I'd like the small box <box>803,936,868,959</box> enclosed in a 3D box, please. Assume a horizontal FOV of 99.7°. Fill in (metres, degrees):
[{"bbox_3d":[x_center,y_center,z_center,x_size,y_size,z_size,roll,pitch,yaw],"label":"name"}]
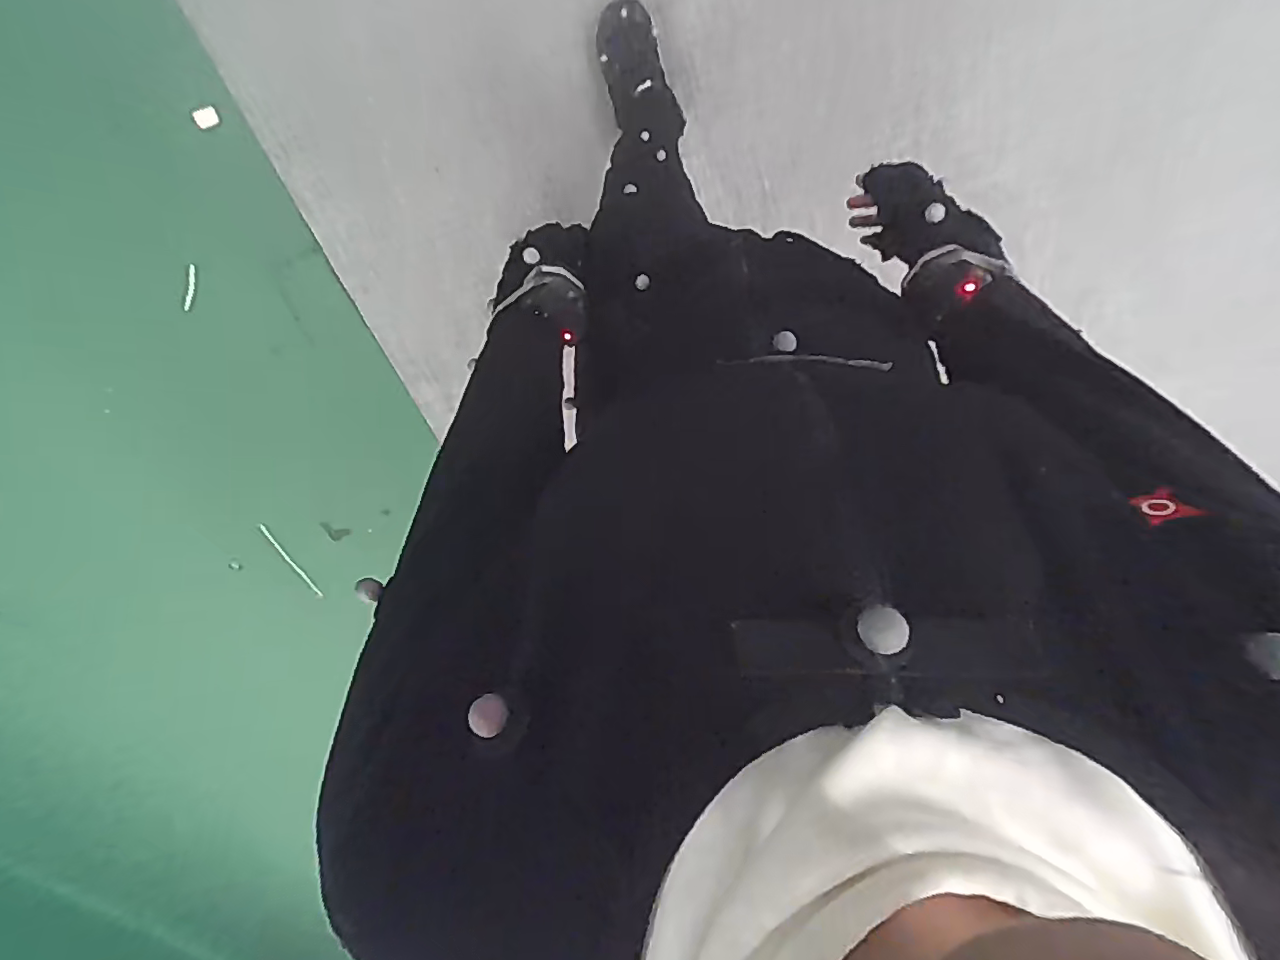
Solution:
[{"bbox_3d":[0.573,1.430,1.528,0.179,0.176,0.168,-18,123,10],"label":"small box"}]
